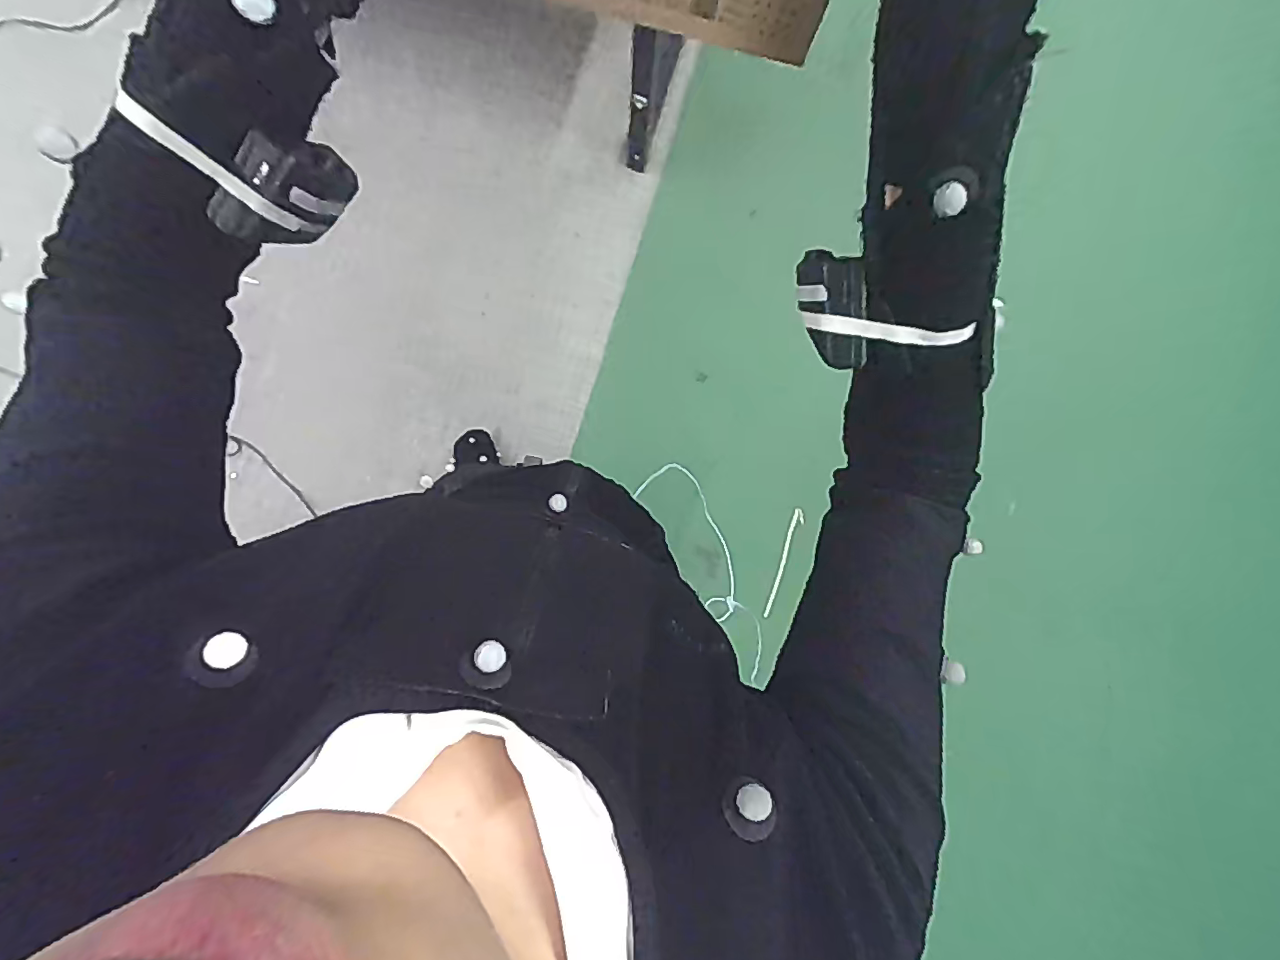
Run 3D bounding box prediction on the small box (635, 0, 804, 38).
[{"bbox_3d":[0.027,-0.353,0.240,0.168,0.176,0.179,11,75,-4],"label":"small box"}]
